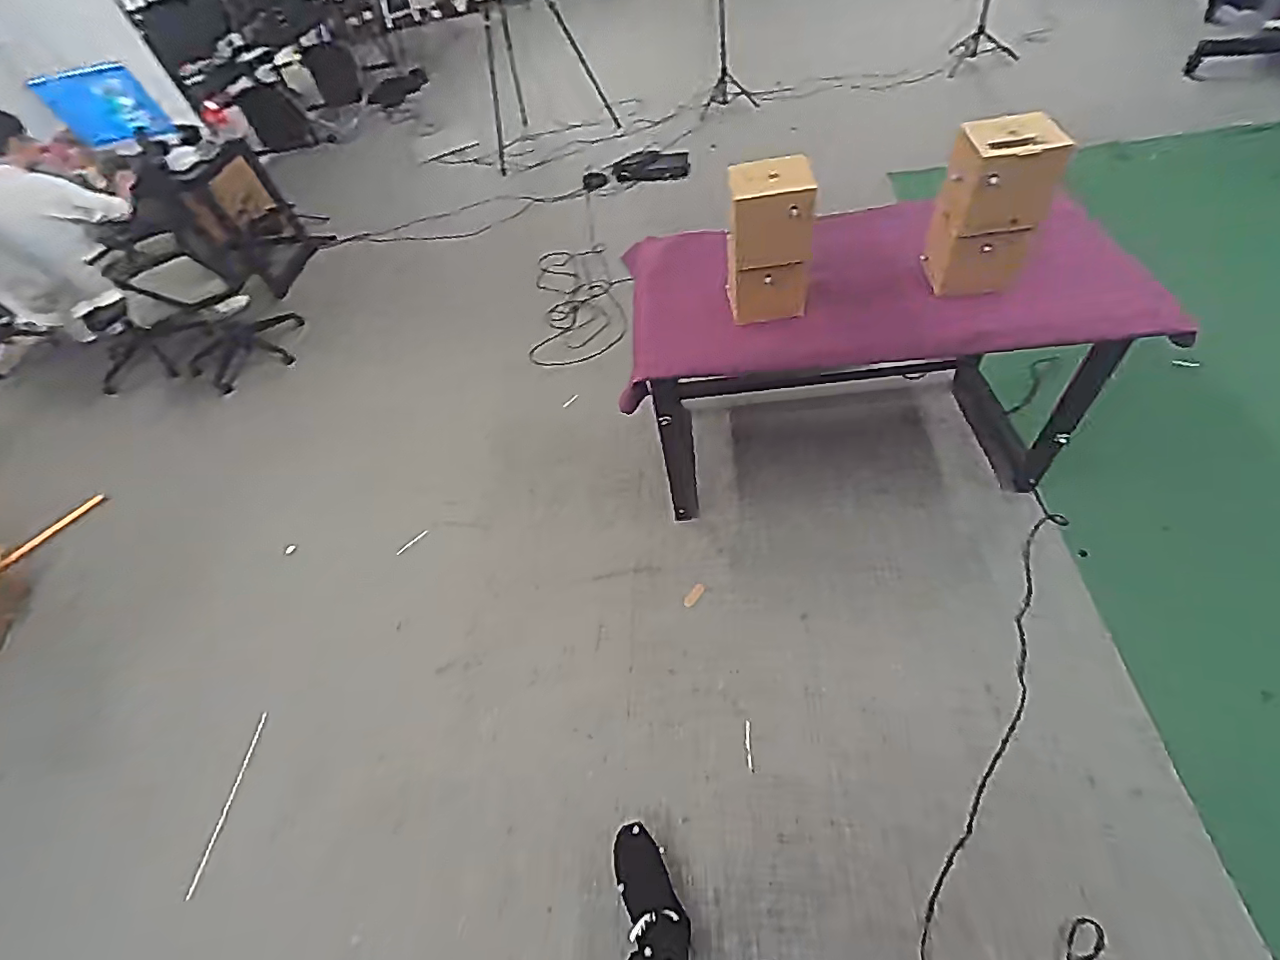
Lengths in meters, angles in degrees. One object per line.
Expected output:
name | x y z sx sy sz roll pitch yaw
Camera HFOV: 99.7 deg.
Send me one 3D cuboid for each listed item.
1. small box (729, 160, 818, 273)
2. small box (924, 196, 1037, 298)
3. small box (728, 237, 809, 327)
small box | 0.299 -0.604 1.247 0.179 0.176 0.168 -5 52 8
small box | 0.815 -0.562 1.320 0.179 0.176 0.168 -2 52 9
small box | 0.323 -0.516 1.386 0.179 0.176 0.168 -6 52 7
